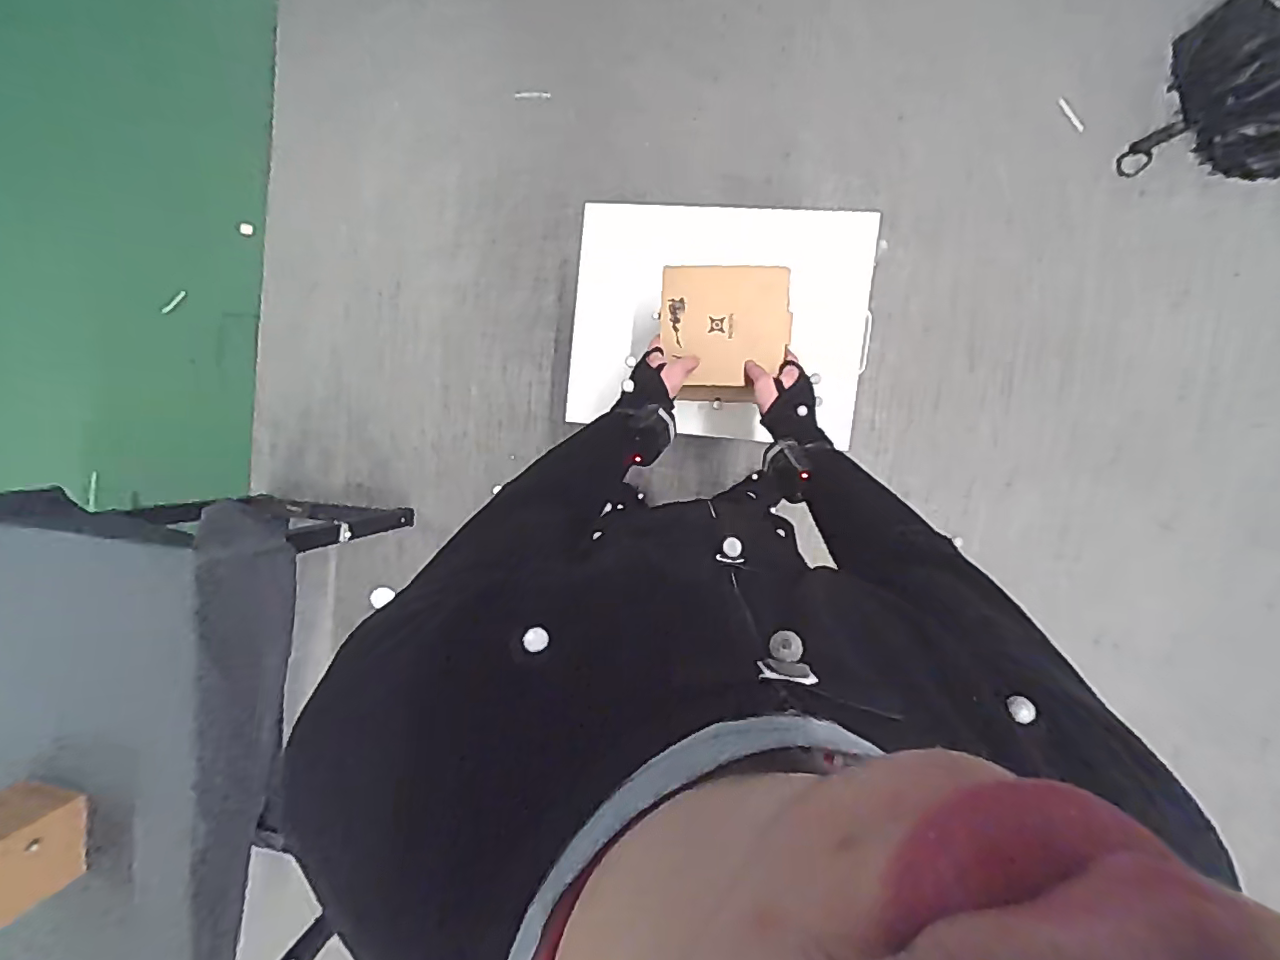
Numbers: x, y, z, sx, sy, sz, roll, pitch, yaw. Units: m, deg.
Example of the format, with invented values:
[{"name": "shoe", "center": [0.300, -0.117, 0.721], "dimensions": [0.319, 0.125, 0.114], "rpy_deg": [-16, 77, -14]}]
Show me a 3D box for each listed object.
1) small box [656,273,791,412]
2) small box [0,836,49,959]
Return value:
[{"name": "small box", "center": [0.115, -0.194, 0.799], "dimensions": [0.179, 0.176, 0.168], "rpy_deg": [2, 90, 3]}, {"name": "small box", "center": [-1.191, 0.757, 0.939], "dimensions": [0.168, 0.176, 0.179], "rpy_deg": [4, 94, 9]}]
